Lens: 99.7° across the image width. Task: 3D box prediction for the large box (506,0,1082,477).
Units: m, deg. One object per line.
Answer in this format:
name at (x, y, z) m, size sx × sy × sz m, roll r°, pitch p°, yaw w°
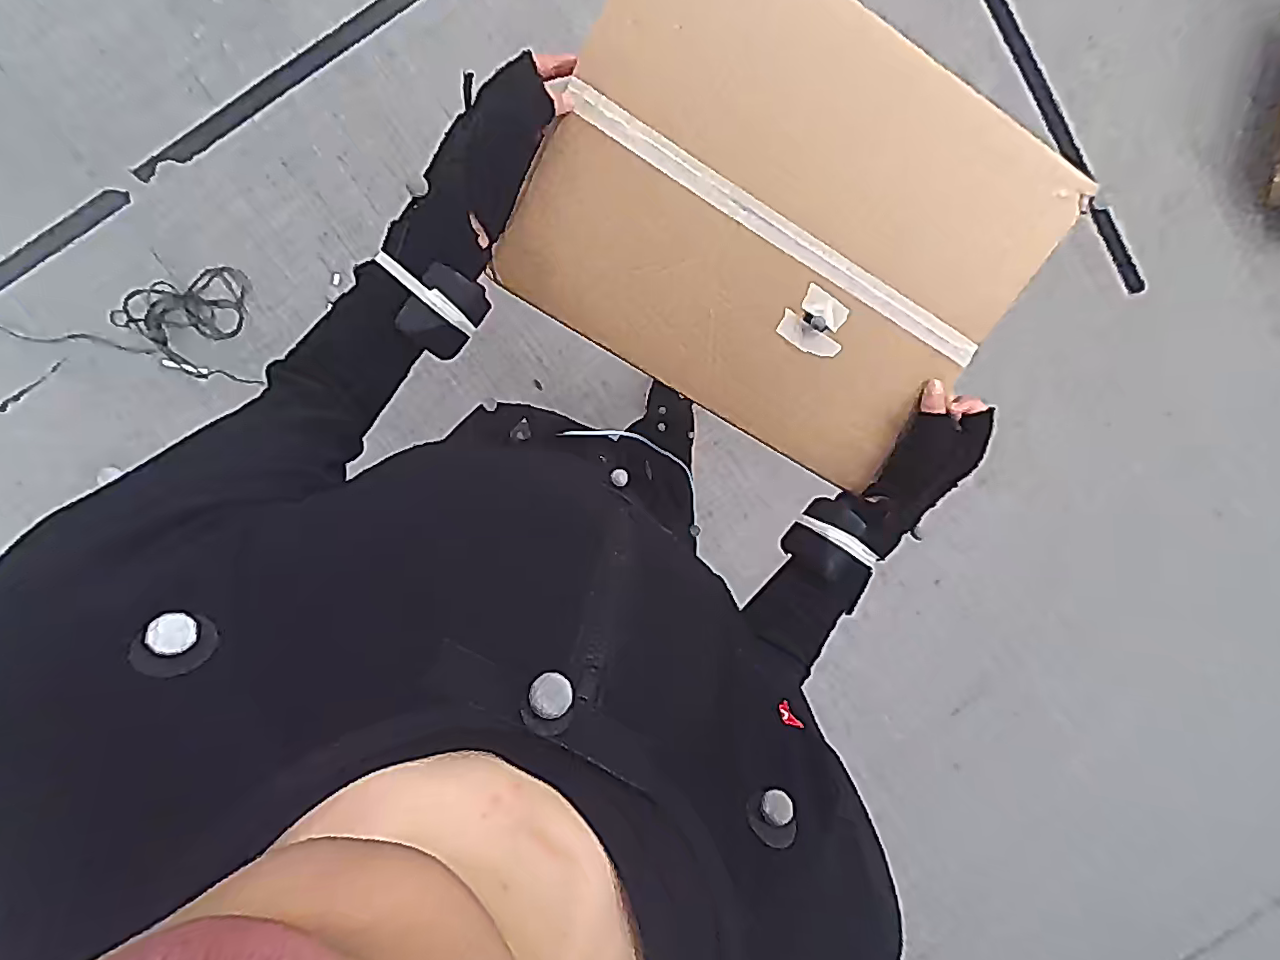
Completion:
large box at (0.124, -0.265, 0.604) m, size 0.408 × 0.320 × 0.320 m, roll 29°, pitch 108°, yaw -10°
